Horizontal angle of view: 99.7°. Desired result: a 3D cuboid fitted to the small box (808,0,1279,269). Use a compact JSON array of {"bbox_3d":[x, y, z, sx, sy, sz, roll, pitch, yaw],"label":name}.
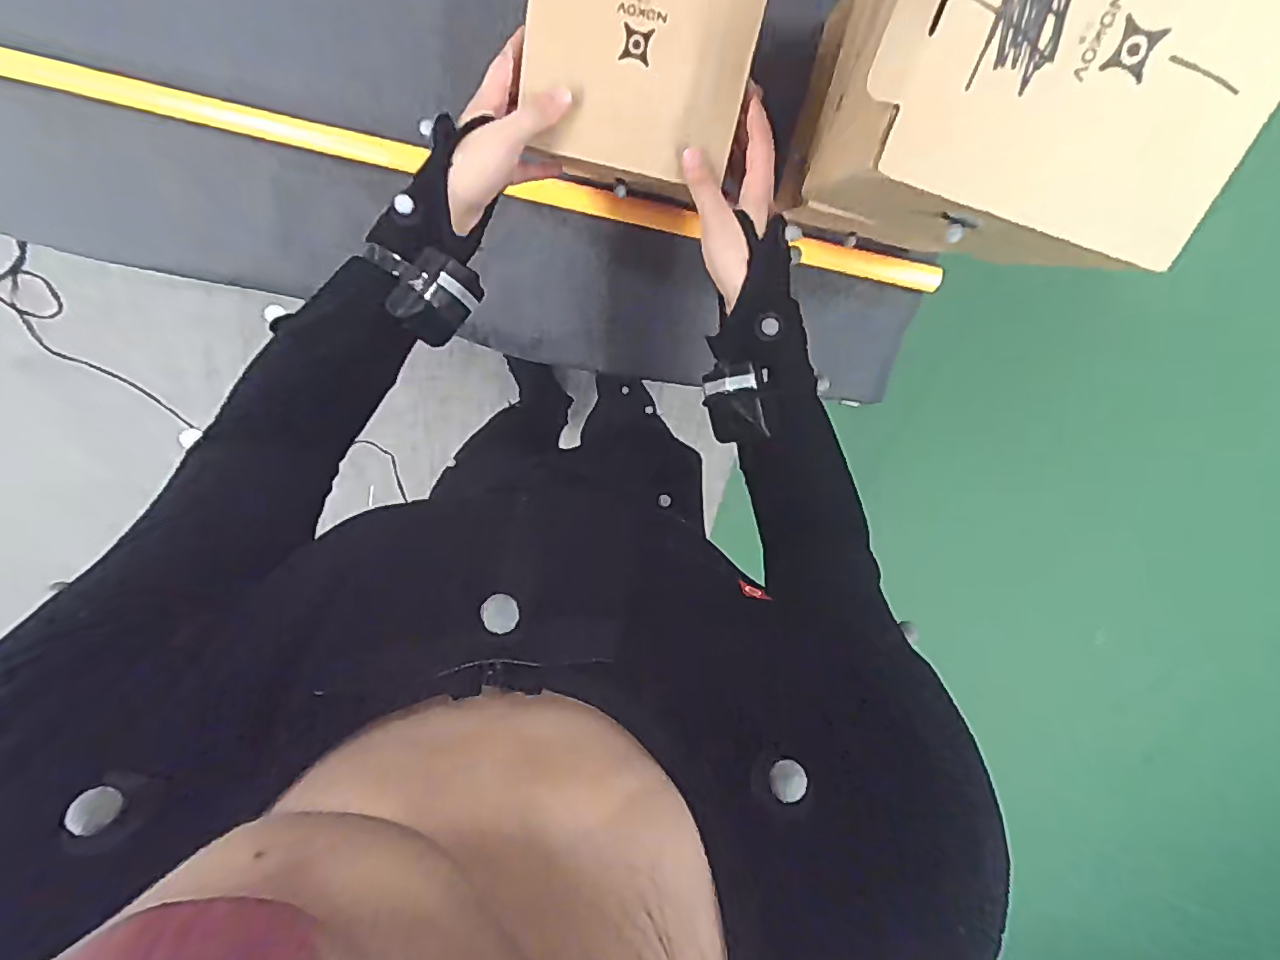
[{"bbox_3d":[0.226,-0.239,0.327,0.179,0.176,0.168,16,114,-5],"label":"small box"}]
